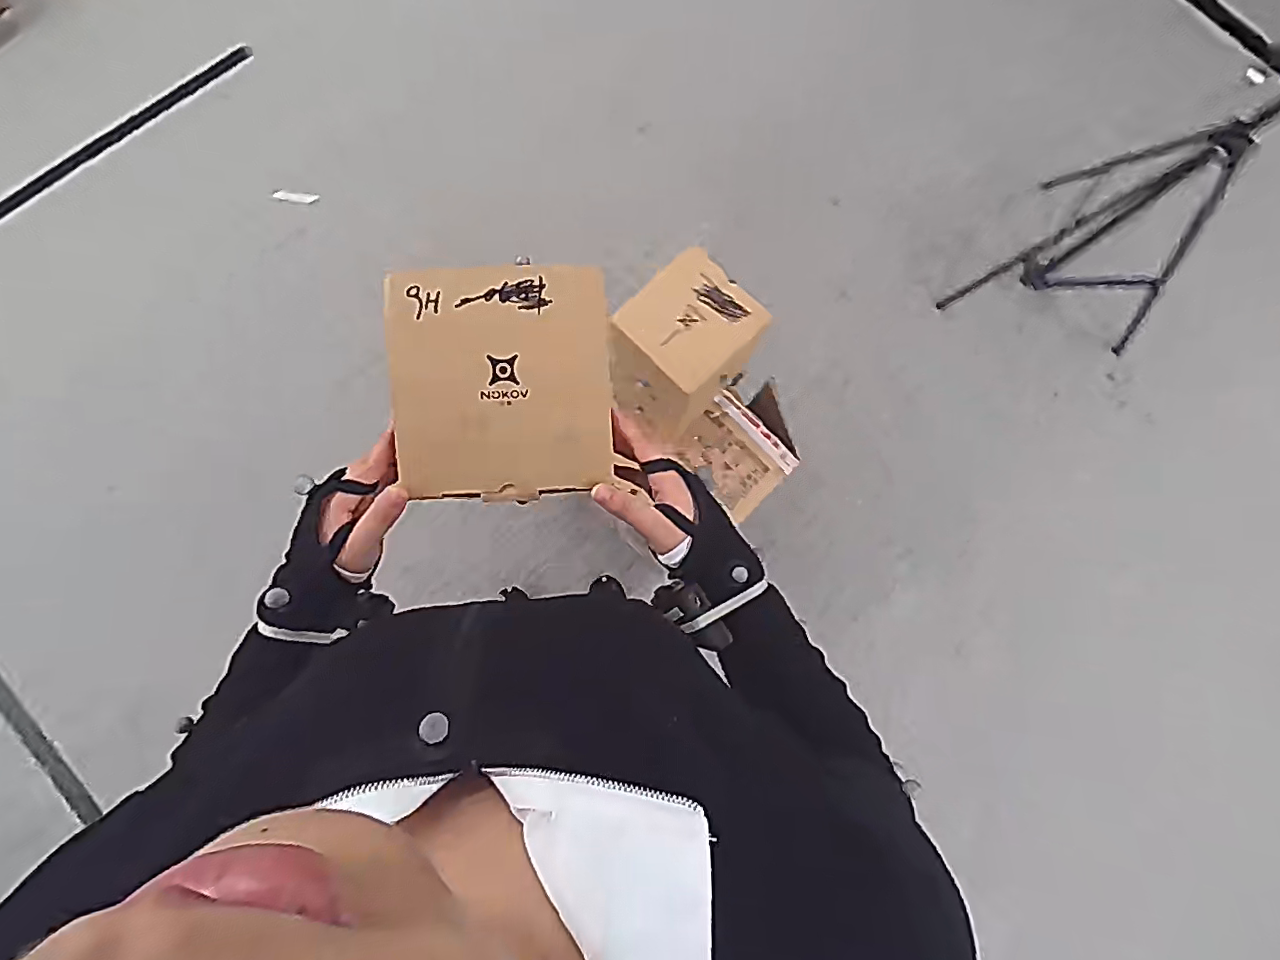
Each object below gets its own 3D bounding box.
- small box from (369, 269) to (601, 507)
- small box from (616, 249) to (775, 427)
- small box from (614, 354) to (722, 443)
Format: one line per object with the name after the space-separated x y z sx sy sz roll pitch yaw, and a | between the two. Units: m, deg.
-0.121 -0.077 0.490 0.168 0.176 0.179 -4 95 -6 | small box
0.078 -0.212 0.852 0.179 0.176 0.168 -43 83 -7 | small box
0.068 -0.197 1.017 0.168 0.176 0.179 43 83 7 | small box
